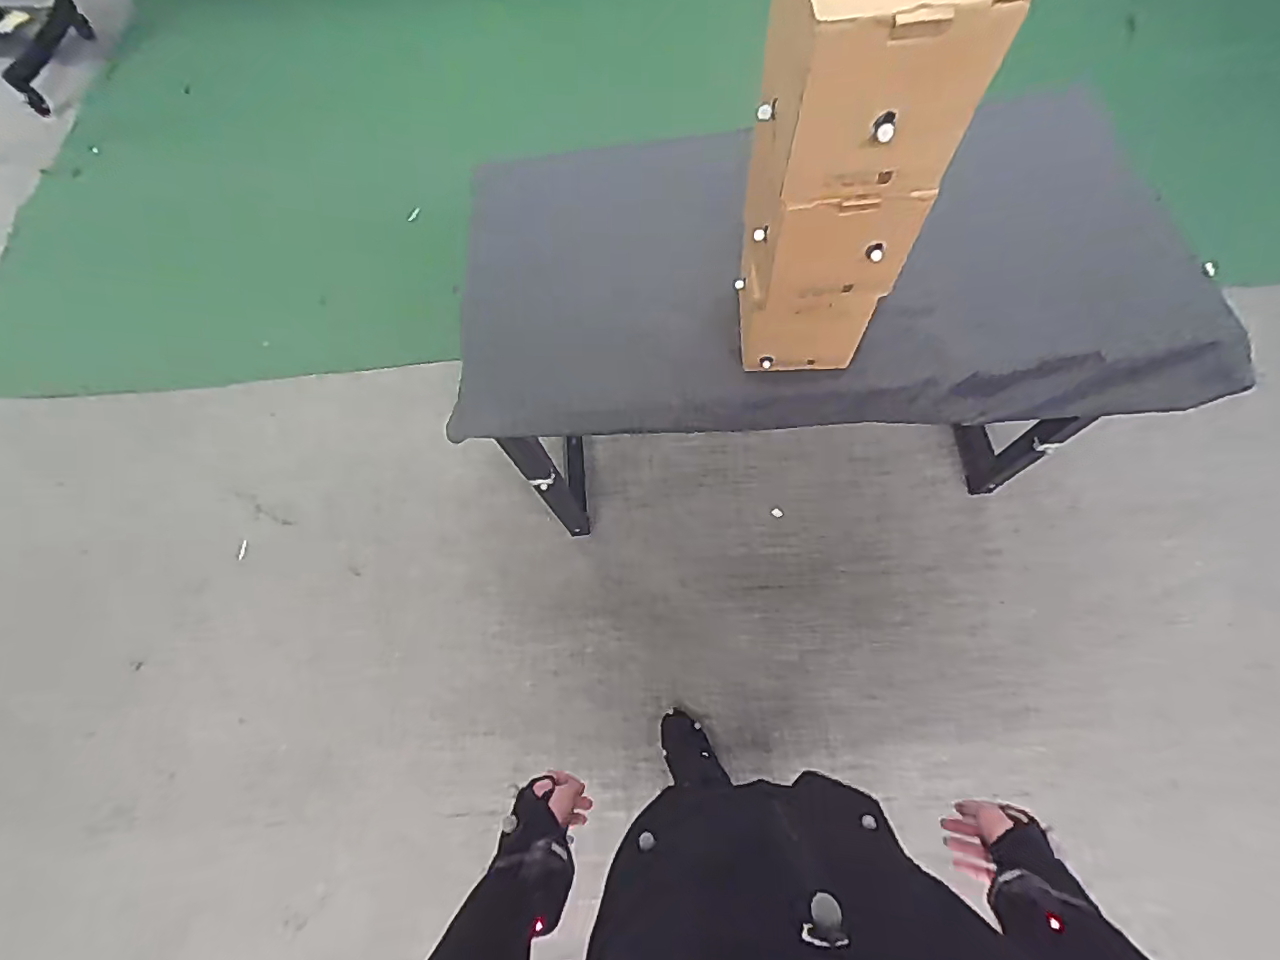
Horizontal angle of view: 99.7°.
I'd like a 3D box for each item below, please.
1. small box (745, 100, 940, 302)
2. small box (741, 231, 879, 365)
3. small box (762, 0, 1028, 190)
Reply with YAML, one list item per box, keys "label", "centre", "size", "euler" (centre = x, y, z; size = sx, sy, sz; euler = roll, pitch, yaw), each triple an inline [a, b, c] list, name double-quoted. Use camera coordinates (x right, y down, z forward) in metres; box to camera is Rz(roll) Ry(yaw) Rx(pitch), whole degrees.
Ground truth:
- label: "small box"
  centre: [0.229, -0.339, 0.665]
  size: [0.168, 0.176, 0.179]
  euler: [-7, 67, 2]
- label: "small box"
  centre: [0.244, -0.287, 0.817]
  size: [0.168, 0.176, 0.179]
  euler: [-1, 67, 5]
- label: "small box"
  centre: [0.217, -0.403, 0.515]
  size: [0.168, 0.176, 0.179]
  euler: [-4, 69, 3]
